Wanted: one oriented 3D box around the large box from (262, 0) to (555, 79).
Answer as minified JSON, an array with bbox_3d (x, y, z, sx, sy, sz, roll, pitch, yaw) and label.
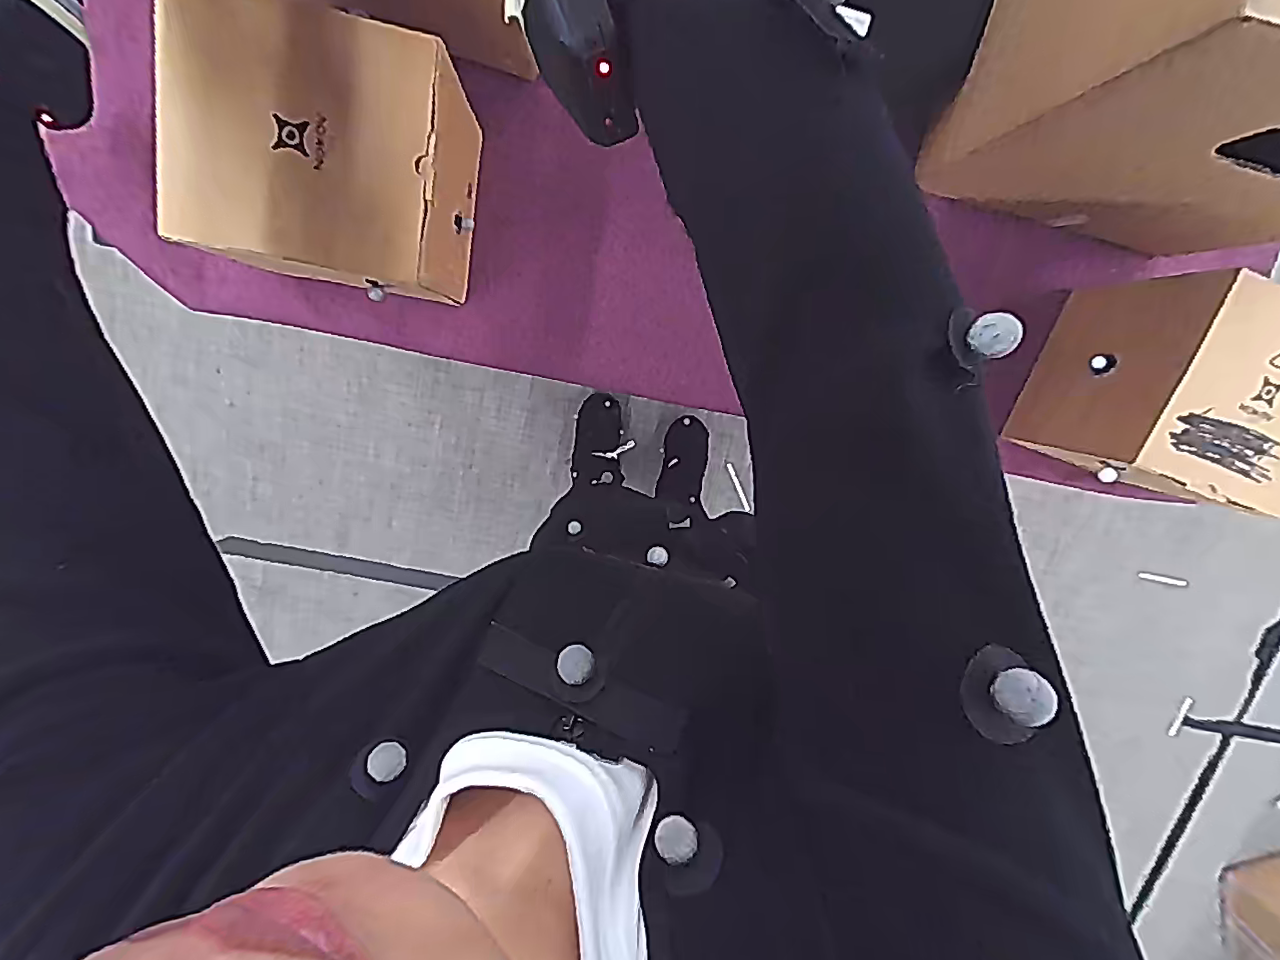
[{"bbox_3d":[-0.184,-0.561,0.315,0.320,0.320,0.408,10,105,-9],"label":"large box"}]
